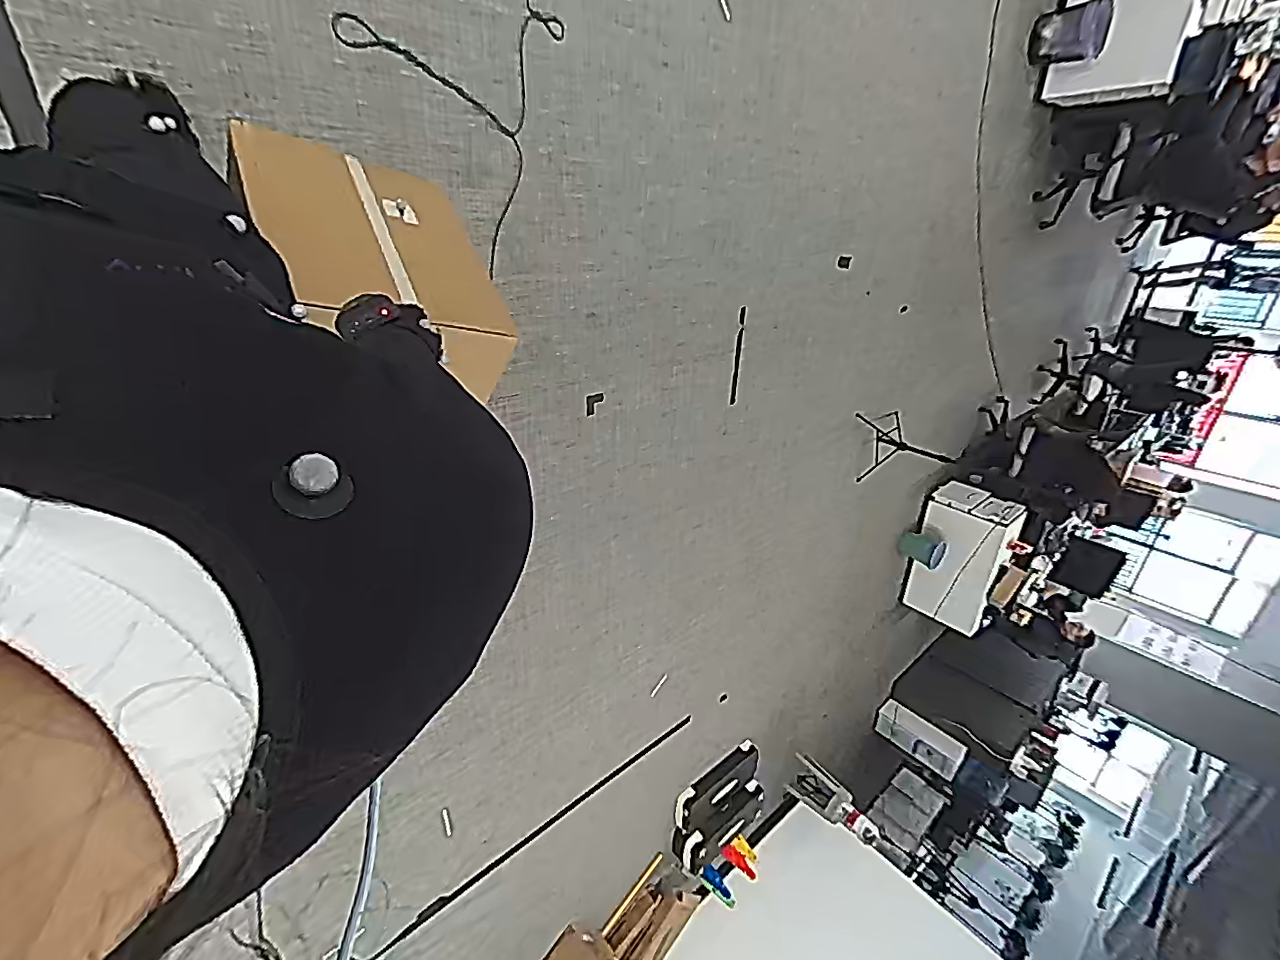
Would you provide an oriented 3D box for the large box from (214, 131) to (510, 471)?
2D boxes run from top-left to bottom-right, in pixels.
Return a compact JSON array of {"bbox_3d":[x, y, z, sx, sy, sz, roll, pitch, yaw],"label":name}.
[{"bbox_3d":[-0.472,-0.265,0.884,0.320,0.408,0.320,-3,143,-45],"label":"large box"}]
